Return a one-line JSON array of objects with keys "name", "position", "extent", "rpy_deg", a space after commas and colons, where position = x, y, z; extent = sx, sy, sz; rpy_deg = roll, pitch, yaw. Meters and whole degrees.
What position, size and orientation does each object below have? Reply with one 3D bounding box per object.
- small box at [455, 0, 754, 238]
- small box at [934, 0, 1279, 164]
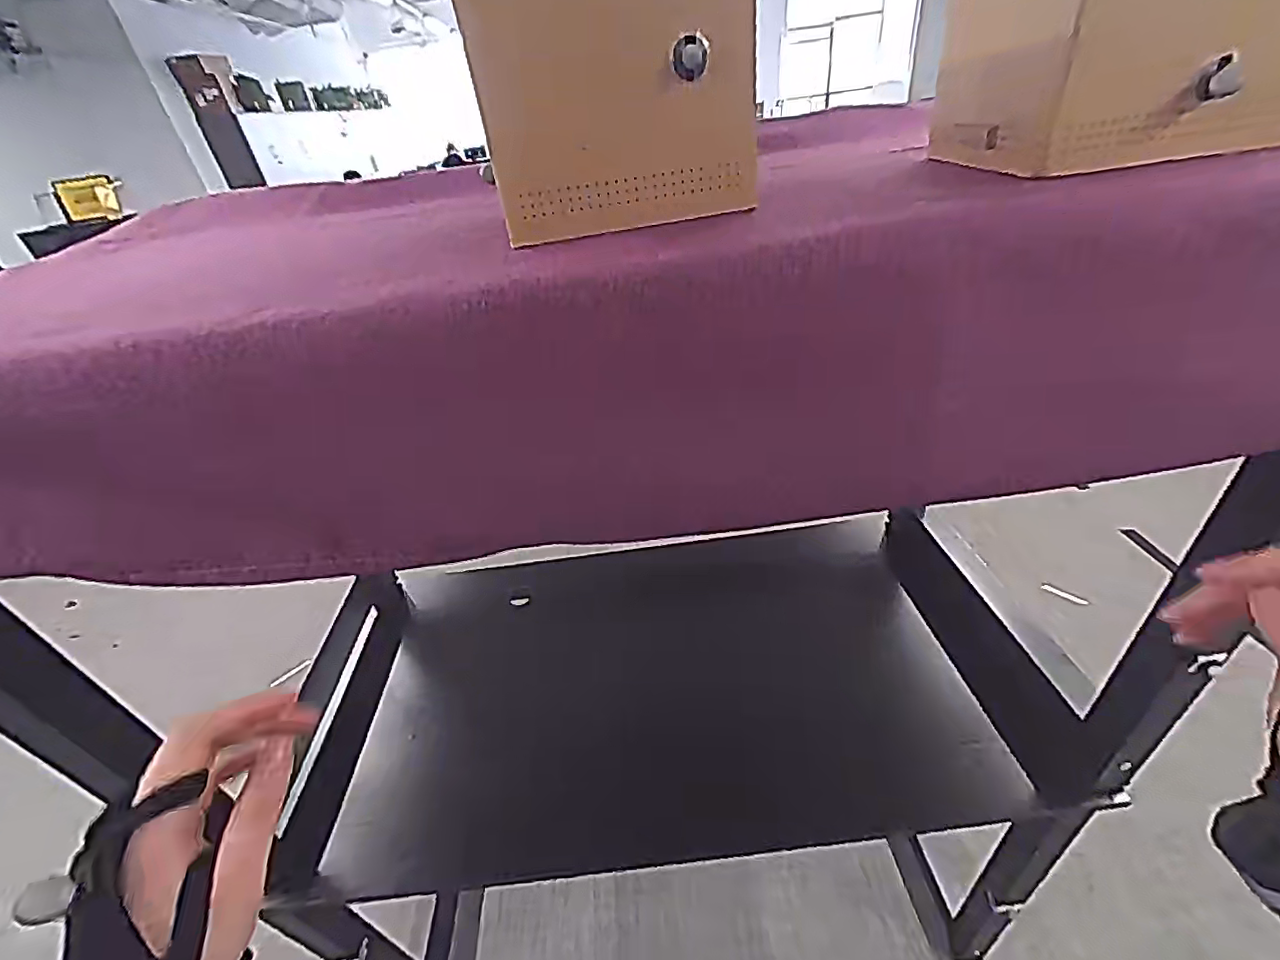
[{"name": "small box", "position": [-0.023, -0.289, 0.390], "extent": [0.179, 0.176, 0.168], "rpy_deg": [-12, 34, -3]}, {"name": "small box", "position": [0.323, -0.317, 0.347], "extent": [0.179, 0.176, 0.168], "rpy_deg": [-6, 34, 4]}]
